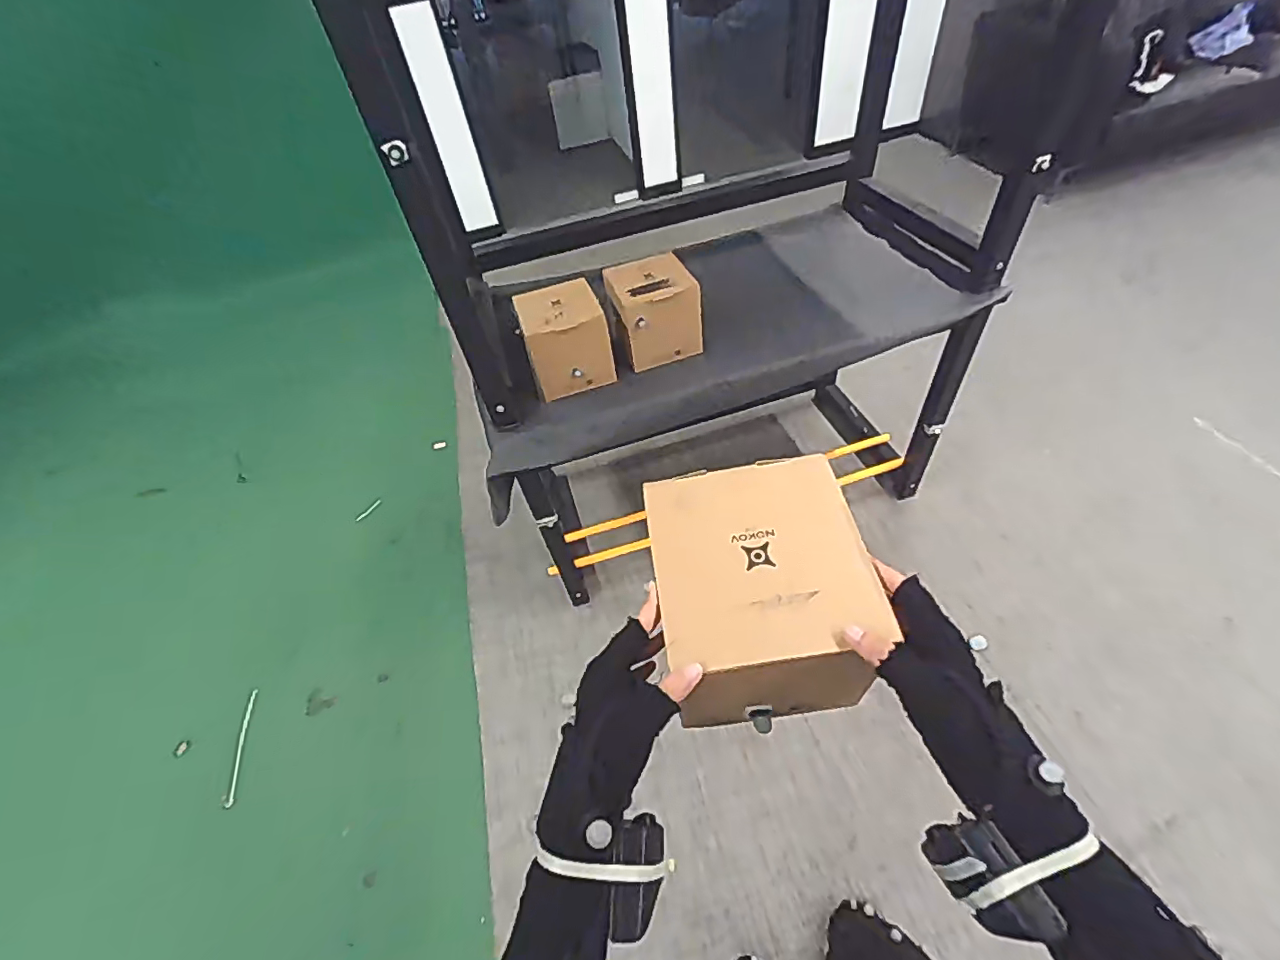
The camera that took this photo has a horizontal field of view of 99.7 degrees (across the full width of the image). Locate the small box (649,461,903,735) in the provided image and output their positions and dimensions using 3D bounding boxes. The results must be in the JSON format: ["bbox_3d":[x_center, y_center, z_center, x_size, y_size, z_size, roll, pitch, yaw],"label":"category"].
[{"bbox_3d":[0.103,0.110,0.490,0.168,0.176,0.179,-9,52,2],"label":"small box"}]

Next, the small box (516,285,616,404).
[{"bbox_3d":[-0.161,-0.295,1.183,0.168,0.176,0.179,-18,48,-7],"label":"small box"}]
